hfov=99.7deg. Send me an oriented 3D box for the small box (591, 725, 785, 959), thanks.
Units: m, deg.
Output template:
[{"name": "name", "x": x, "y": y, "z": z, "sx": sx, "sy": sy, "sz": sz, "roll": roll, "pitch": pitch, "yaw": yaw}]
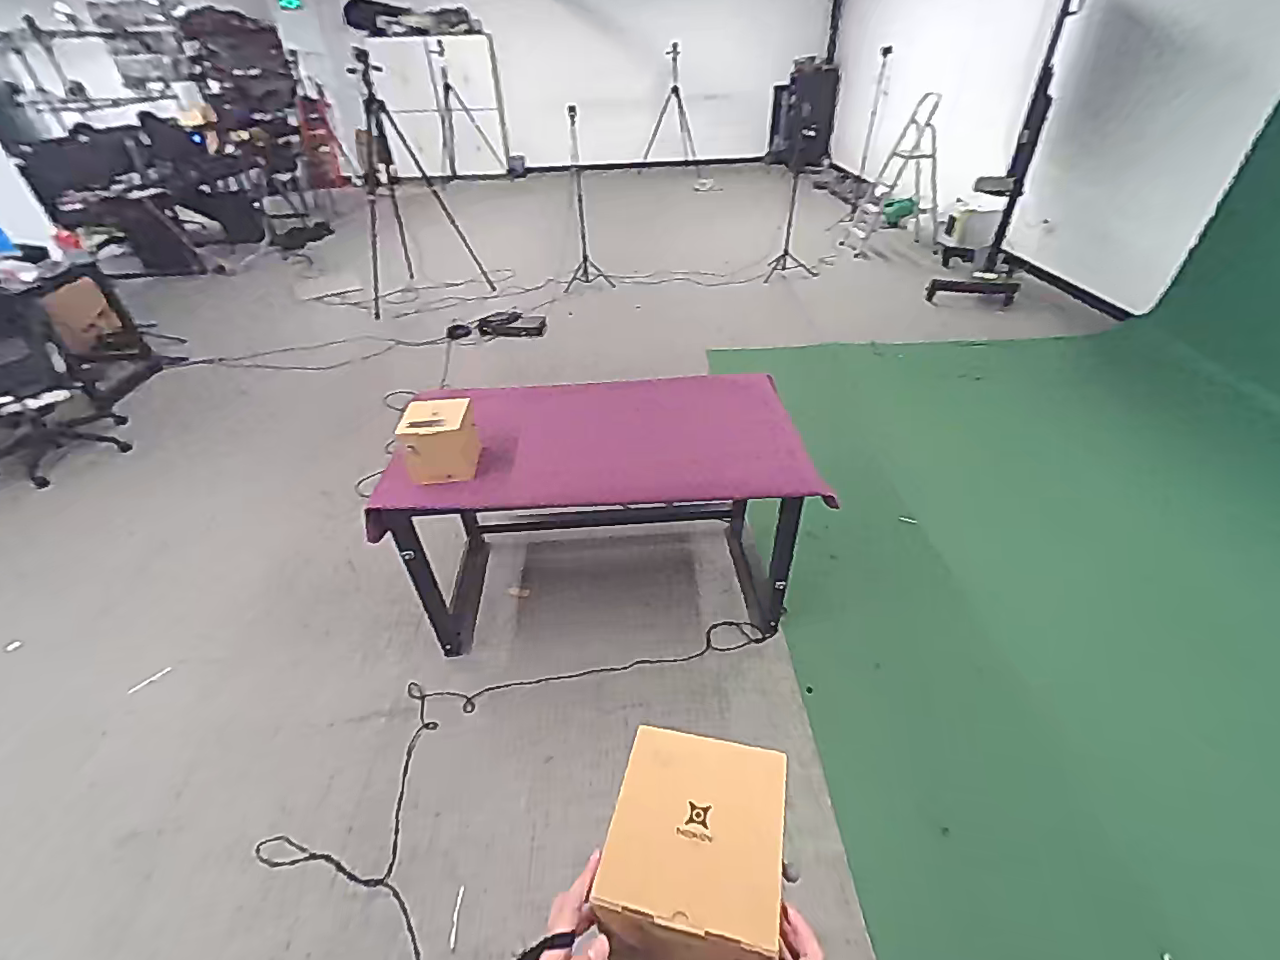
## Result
[{"name": "small box", "x": 0.058, "y": 0.399, "z": 0.571, "sx": 0.168, "sy": 0.176, "sz": 0.179, "roll": 5, "pitch": 35, "yaw": 14}]
